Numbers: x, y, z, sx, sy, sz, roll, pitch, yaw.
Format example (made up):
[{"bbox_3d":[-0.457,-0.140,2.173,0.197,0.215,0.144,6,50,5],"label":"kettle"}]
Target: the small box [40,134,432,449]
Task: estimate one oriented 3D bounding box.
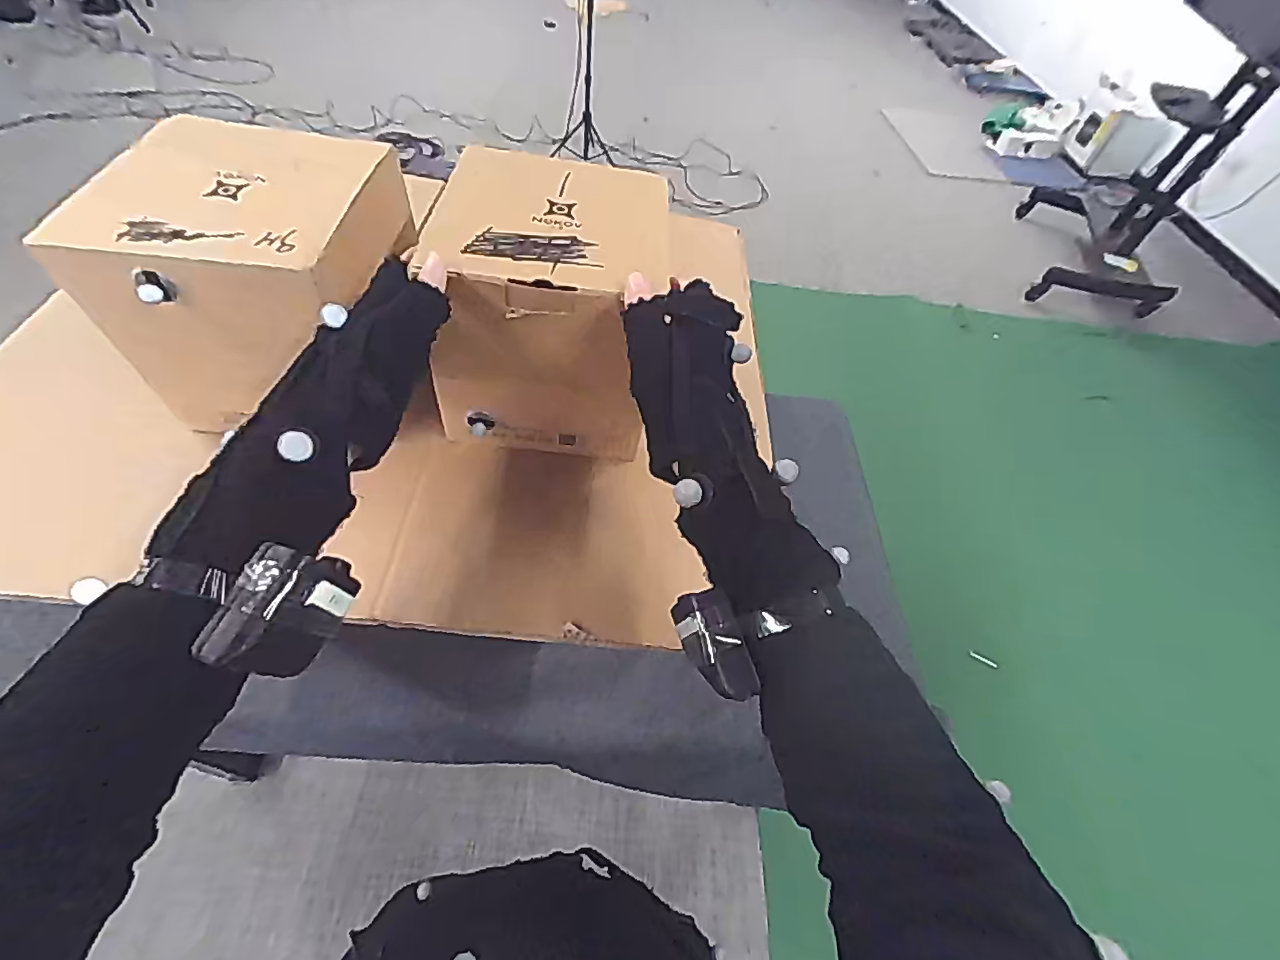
[{"bbox_3d":[-0.285,-0.149,0.442,0.168,0.176,0.179,4,53,-2],"label":"small box"}]
